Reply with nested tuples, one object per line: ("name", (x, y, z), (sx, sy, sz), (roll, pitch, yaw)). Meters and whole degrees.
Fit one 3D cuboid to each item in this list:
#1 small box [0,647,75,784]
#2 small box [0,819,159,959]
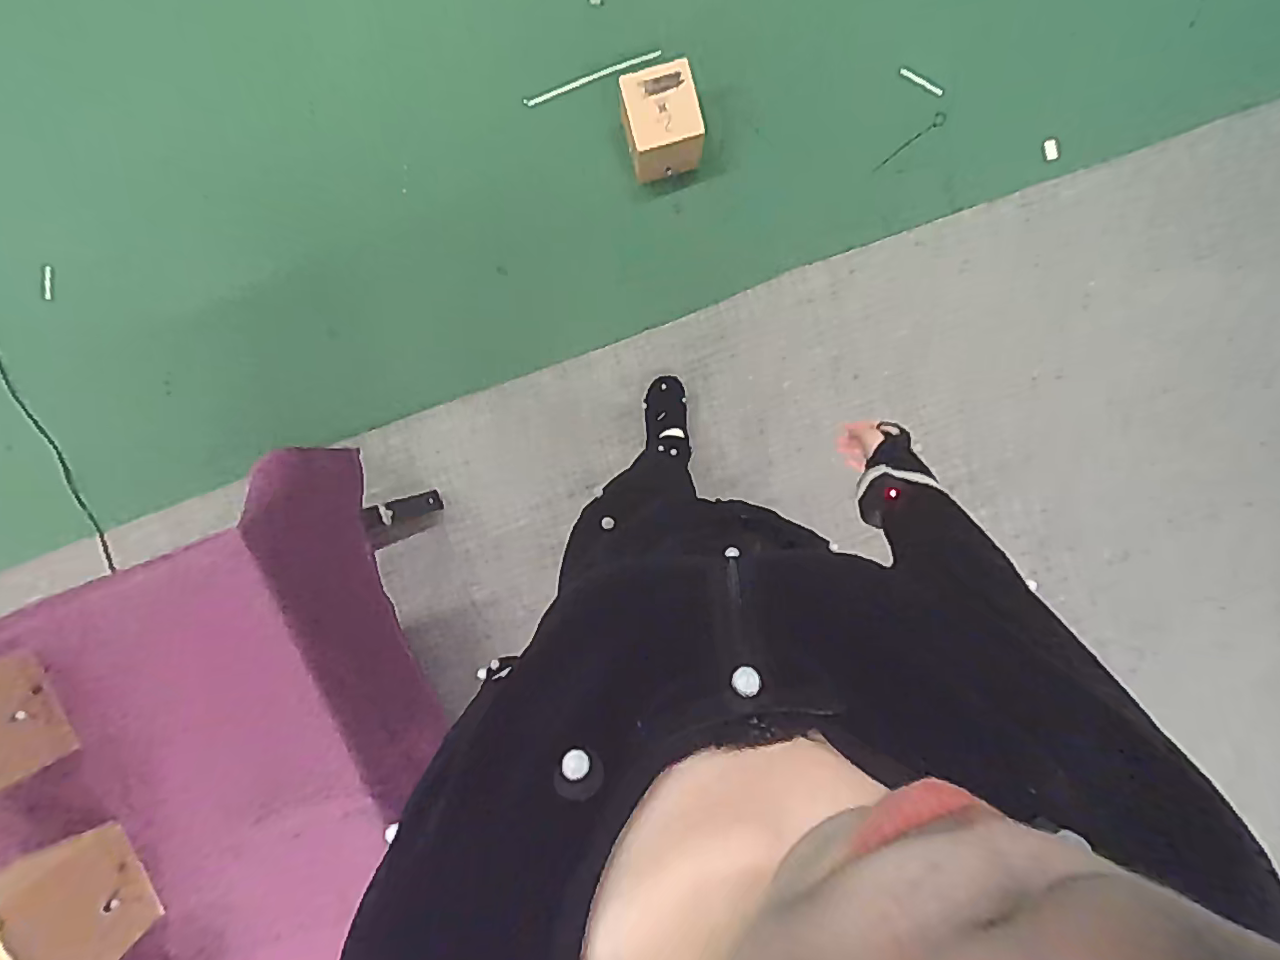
("small box", (-0.945, 0.352, 0.723), (0.179, 0.176, 0.168), (-20, 95, 0))
("small box", (-0.843, 0.621, 0.749), (0.179, 0.176, 0.168), (-23, 94, 2))
